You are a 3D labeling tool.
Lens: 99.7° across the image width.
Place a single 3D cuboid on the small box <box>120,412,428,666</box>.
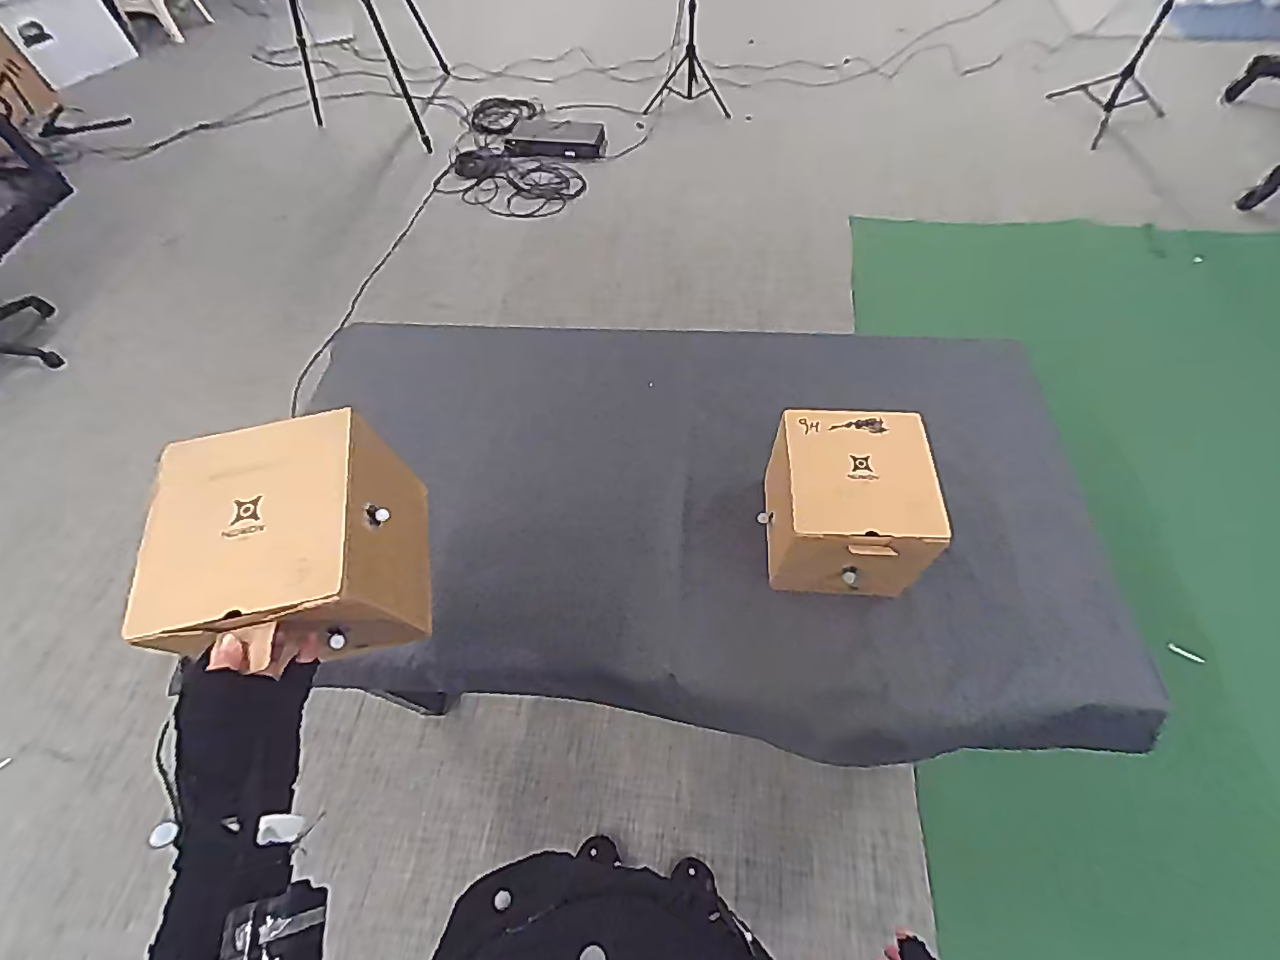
[{"bbox_3d":[-0.310,0.066,0.504,0.168,0.176,0.179,-11,62,-3],"label":"small box"}]
